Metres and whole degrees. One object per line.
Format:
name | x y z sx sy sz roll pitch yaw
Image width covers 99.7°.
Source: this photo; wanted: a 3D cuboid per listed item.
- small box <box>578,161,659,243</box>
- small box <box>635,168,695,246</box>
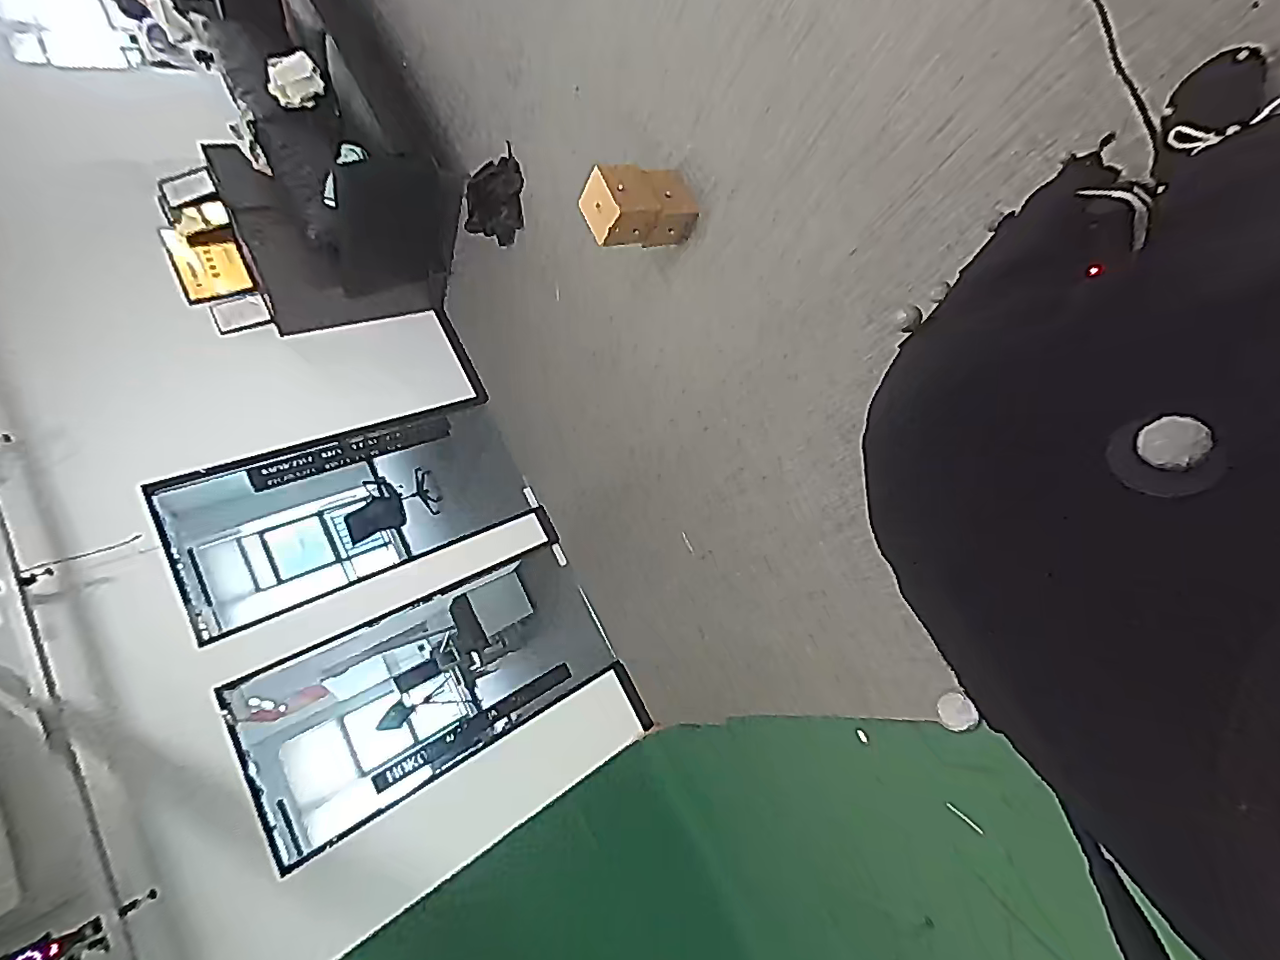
small box | -0.069 -0.899 1.753 0.179 0.176 0.168 63 148 6
small box | 0.060 -0.938 1.847 0.179 0.176 0.168 63 148 6
